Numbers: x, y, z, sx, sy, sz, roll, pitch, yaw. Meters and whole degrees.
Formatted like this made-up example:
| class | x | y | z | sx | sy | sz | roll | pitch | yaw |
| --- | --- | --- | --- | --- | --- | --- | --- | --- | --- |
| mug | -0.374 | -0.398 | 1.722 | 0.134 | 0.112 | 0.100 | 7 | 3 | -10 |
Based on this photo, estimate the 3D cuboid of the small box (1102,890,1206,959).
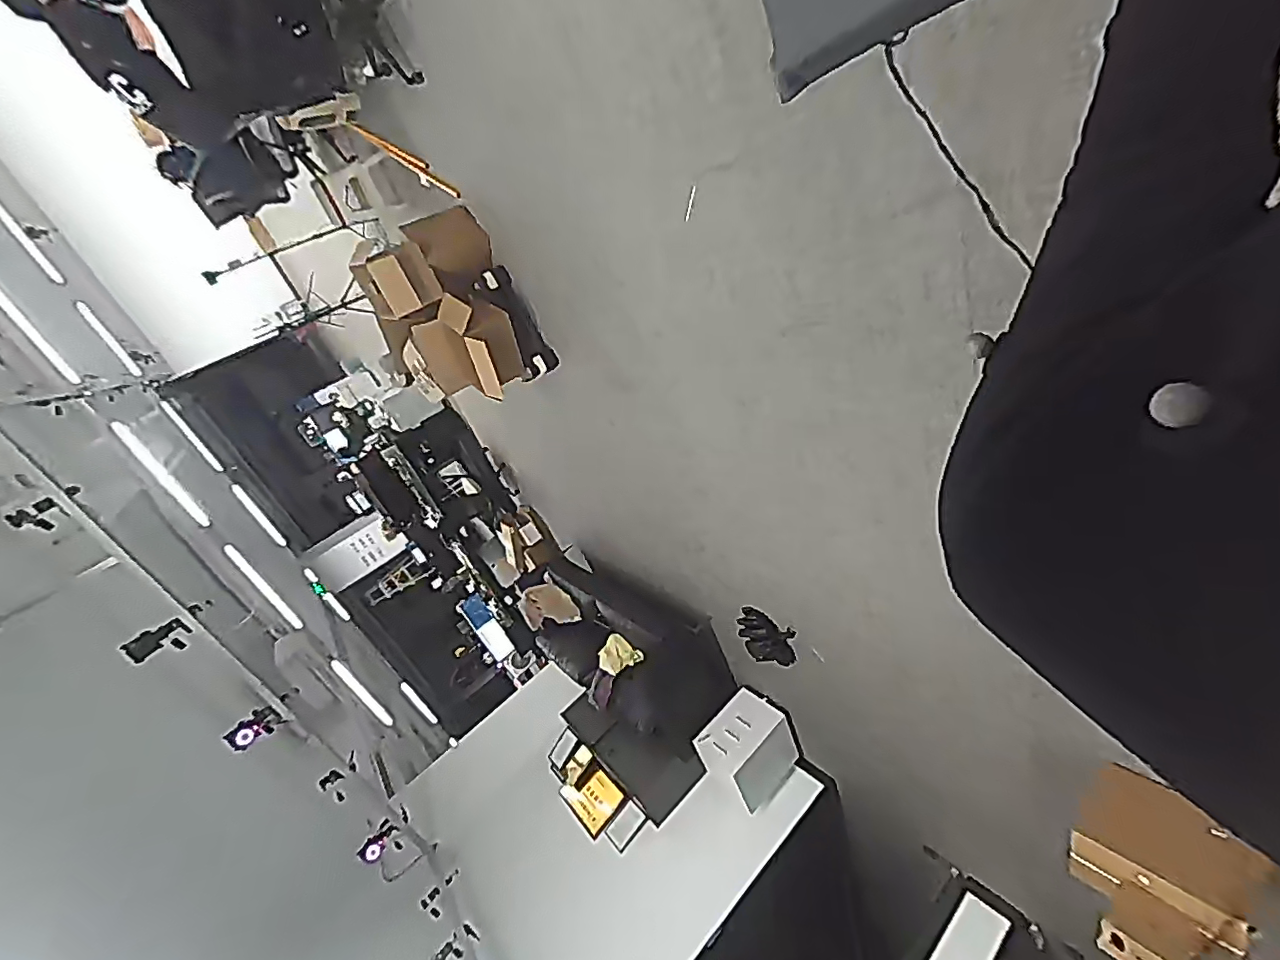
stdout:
| class | x | y | z | sx | sy | sz | roll | pitch | yaw |
| --- | --- | --- | --- | --- | --- | --- | --- | --- | --- |
| small box | 1.539 | 1.384 | 1.622 | 0.179 | 0.176 | 0.168 | 23 | 138 | 48 |
